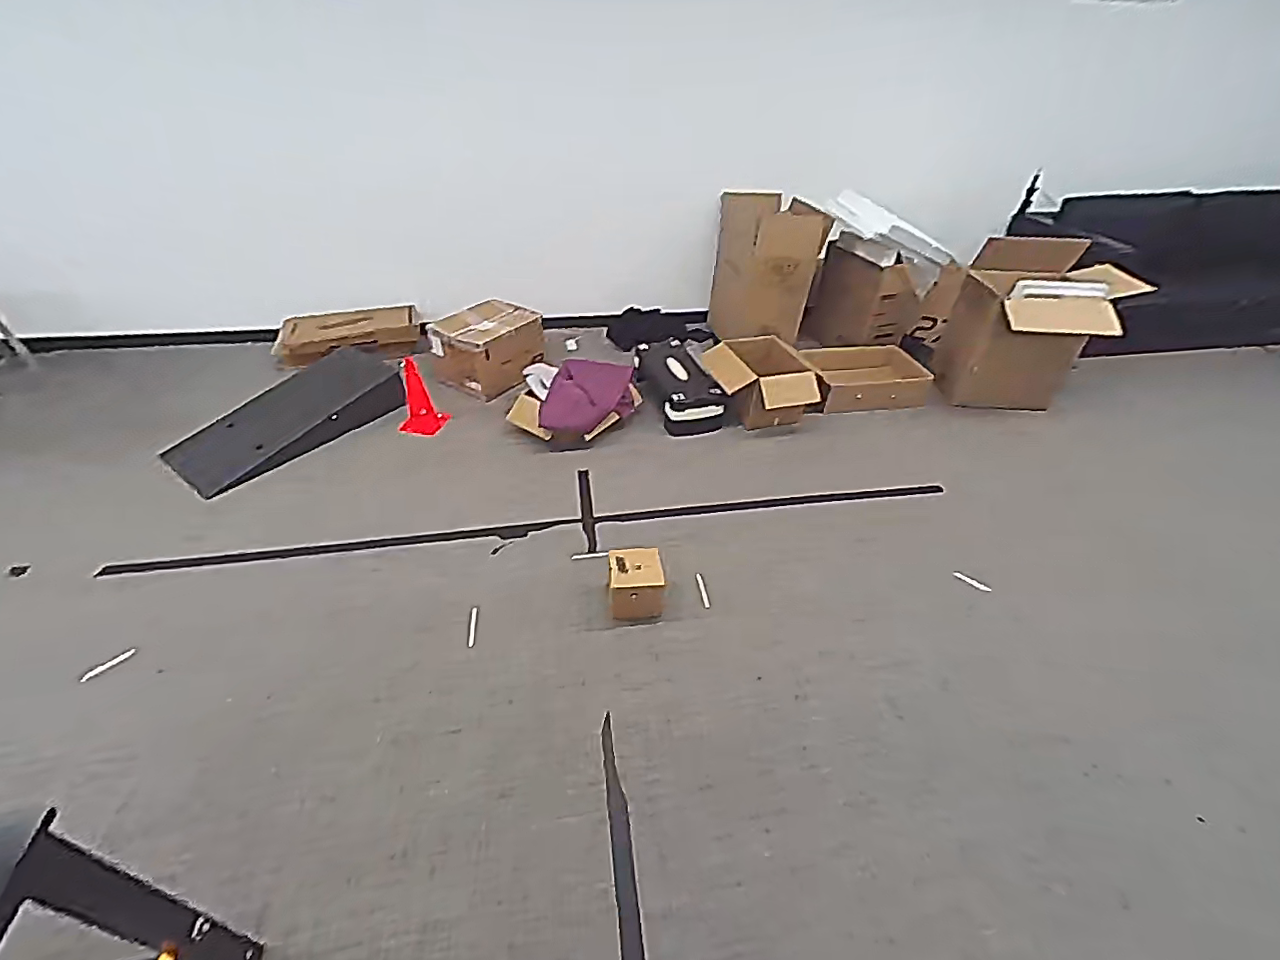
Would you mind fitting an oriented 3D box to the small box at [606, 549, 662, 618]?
[{"bbox_3d":[-0.023,0.359,1.858,0.179,0.176,0.168,-2,40,-7],"label":"small box"}]
